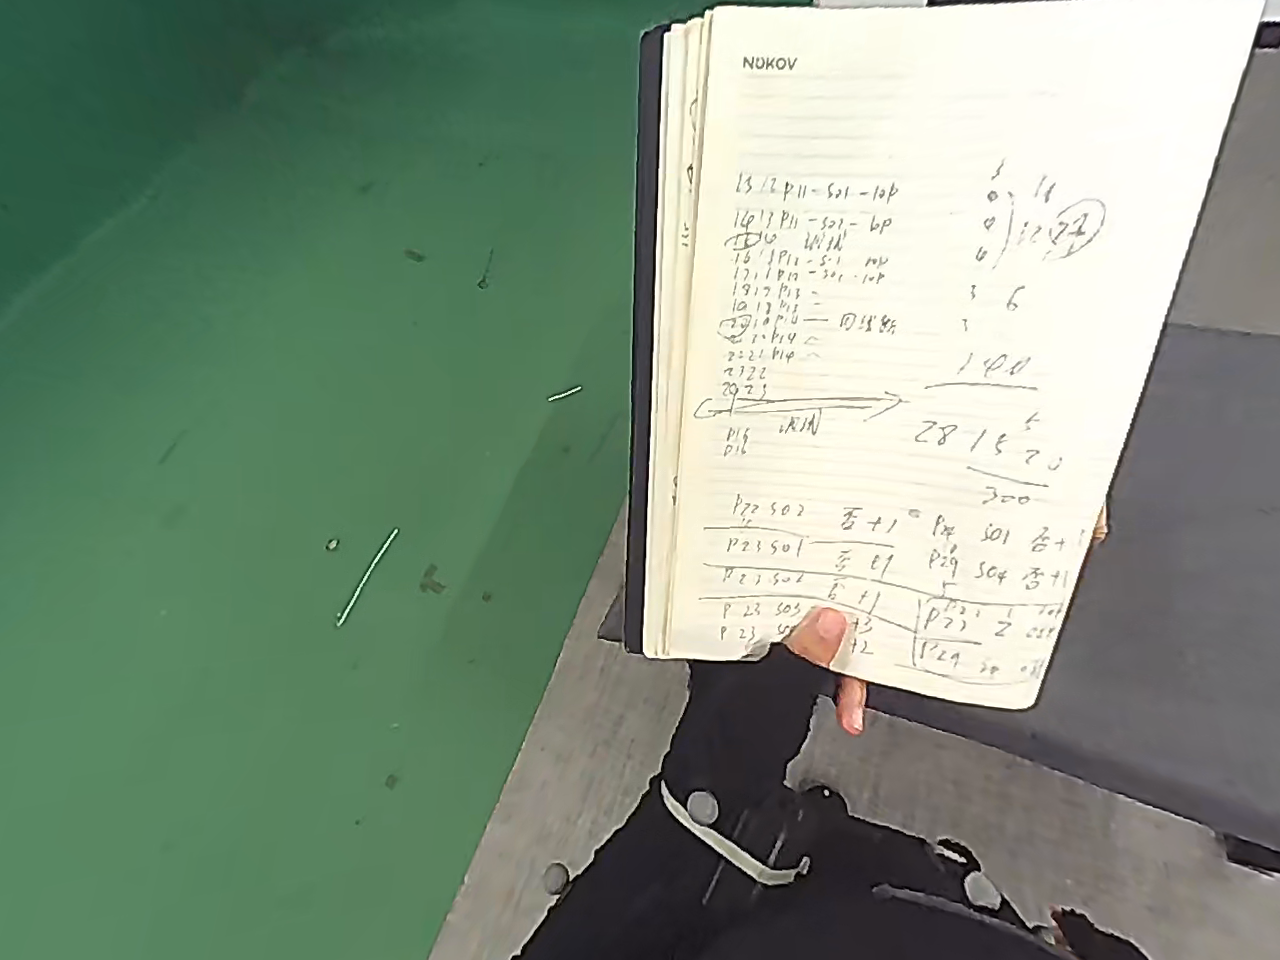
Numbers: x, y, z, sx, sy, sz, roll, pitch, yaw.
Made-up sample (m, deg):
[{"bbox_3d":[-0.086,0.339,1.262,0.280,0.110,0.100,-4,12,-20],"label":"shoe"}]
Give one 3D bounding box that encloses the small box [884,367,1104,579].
[{"bbox_3d":[0.397,-0.004,0.635,0.168,0.176,0.179,11,66,15],"label":"small box"}]
